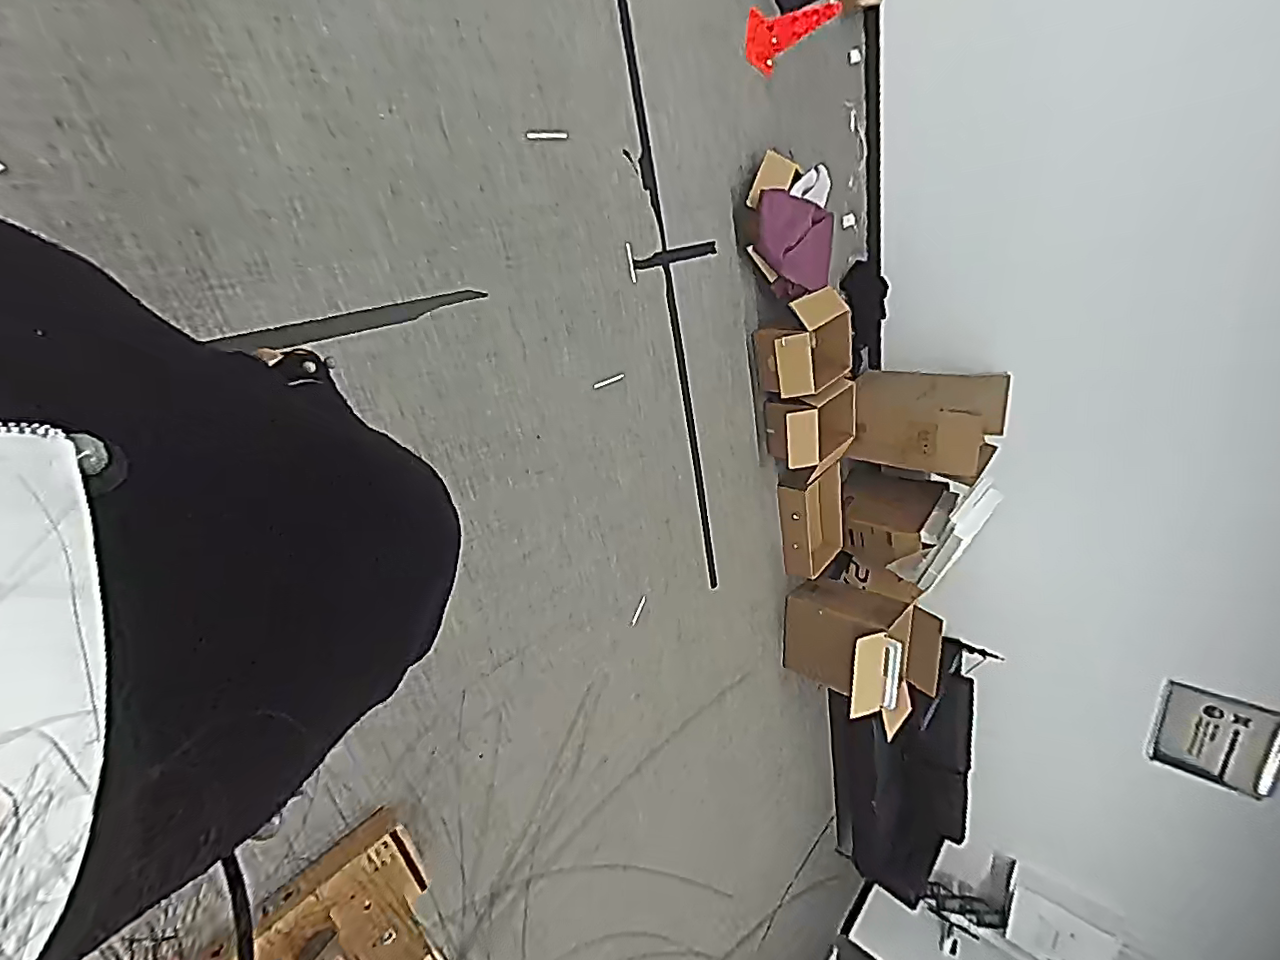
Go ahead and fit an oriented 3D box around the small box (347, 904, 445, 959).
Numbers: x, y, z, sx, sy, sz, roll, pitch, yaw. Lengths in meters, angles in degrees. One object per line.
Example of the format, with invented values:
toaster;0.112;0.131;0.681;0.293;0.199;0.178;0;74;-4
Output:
small box;-0.616;1.256;1.393;0.168;0.176;0.179;-36;124;-35

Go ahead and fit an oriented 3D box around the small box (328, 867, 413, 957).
small box;-0.735;1.230;1.503;0.168;0.176;0.179;-29;119;-37

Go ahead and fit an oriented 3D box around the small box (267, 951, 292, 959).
small box;-0.919;1.337;1.338;0.168;0.176;0.179;-27;118;-40
